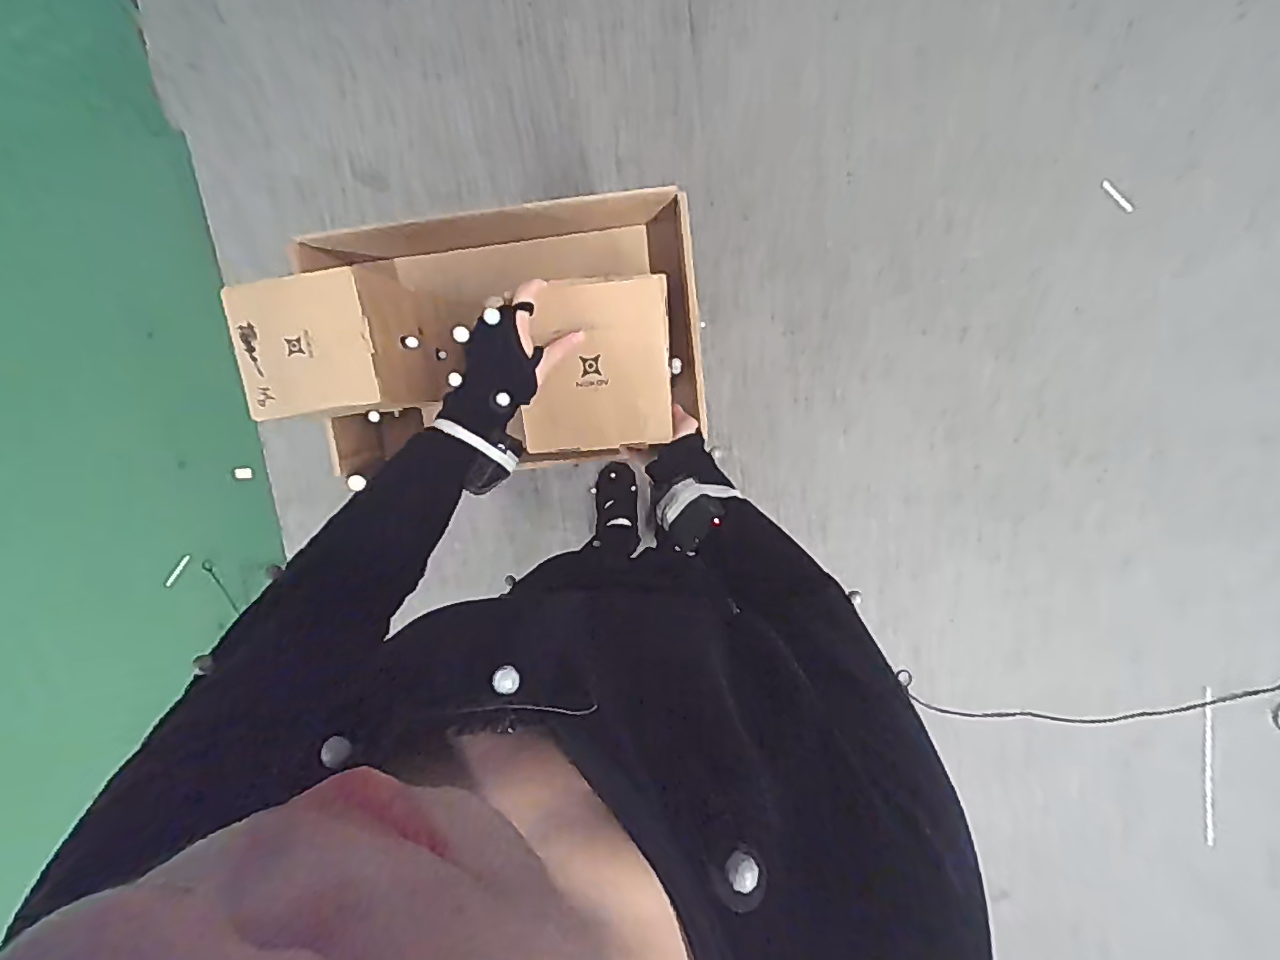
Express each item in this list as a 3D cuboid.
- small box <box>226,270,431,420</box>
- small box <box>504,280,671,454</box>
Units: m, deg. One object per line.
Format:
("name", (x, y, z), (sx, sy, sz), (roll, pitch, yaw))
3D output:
("small box", (-0.407, -0.177, 0.744), (0.179, 0.176, 0.168), (-7, 98, 4))
("small box", (-0.049, -0.138, 0.651), (0.168, 0.176, 0.179), (-3, 105, 4))
